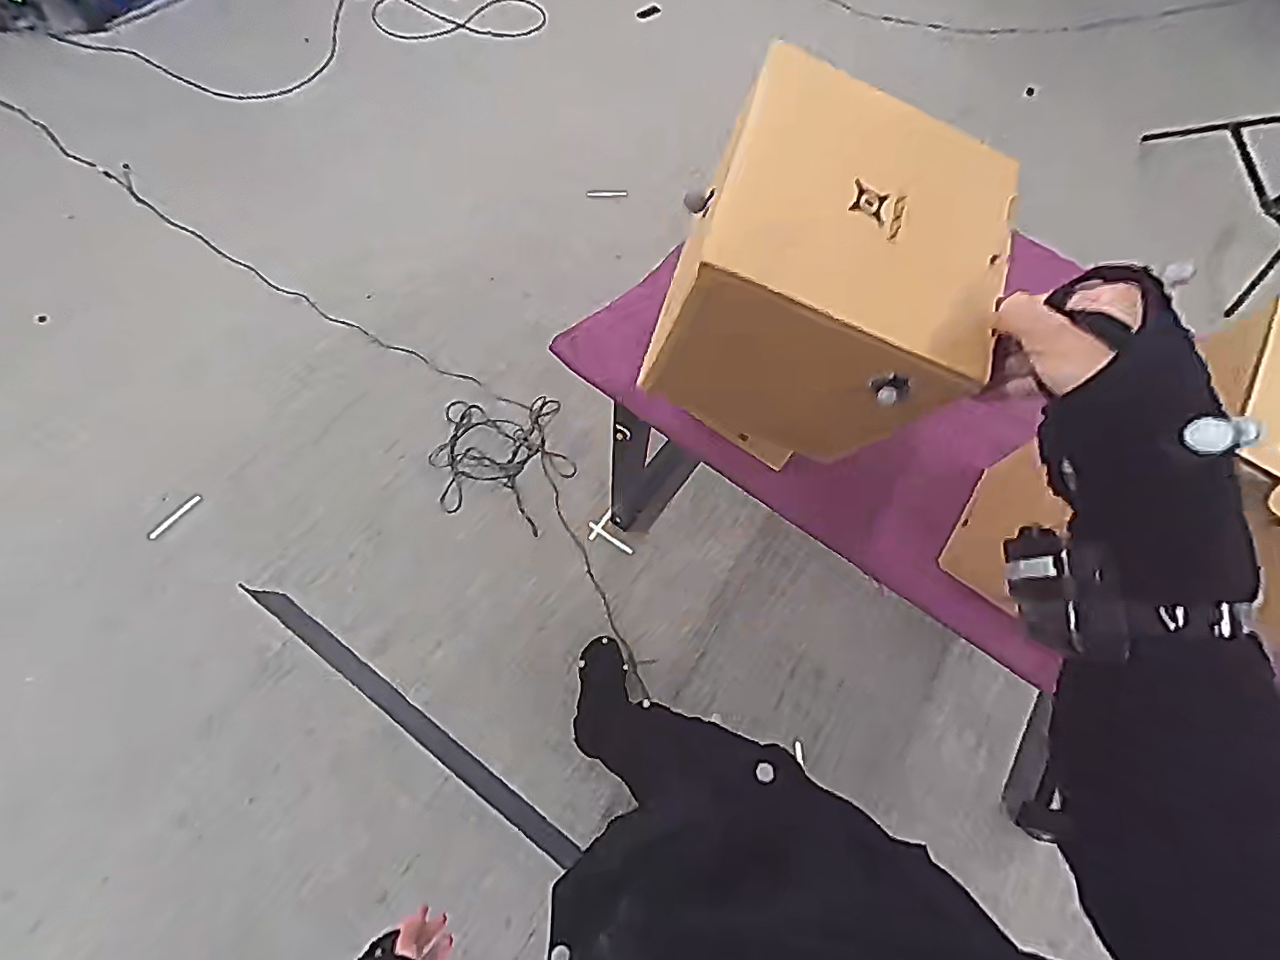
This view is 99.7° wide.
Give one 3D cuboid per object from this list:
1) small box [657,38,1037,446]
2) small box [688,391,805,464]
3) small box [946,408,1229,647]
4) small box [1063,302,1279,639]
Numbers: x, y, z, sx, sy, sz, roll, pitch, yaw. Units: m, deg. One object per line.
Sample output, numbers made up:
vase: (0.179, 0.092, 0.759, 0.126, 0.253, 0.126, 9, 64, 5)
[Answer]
small box: (0.126, -0.141, 0.381, 0.179, 0.176, 0.168, 21, 74, -7)
small box: (0.171, -0.149, 0.654, 0.168, 0.176, 0.179, 36, 68, 10)
small box: (0.481, 0.062, 0.581, 0.179, 0.176, 0.168, 36, 69, 11)
small box: (0.489, 0.002, 0.427, 0.168, 0.176, 0.179, 36, 69, 12)
